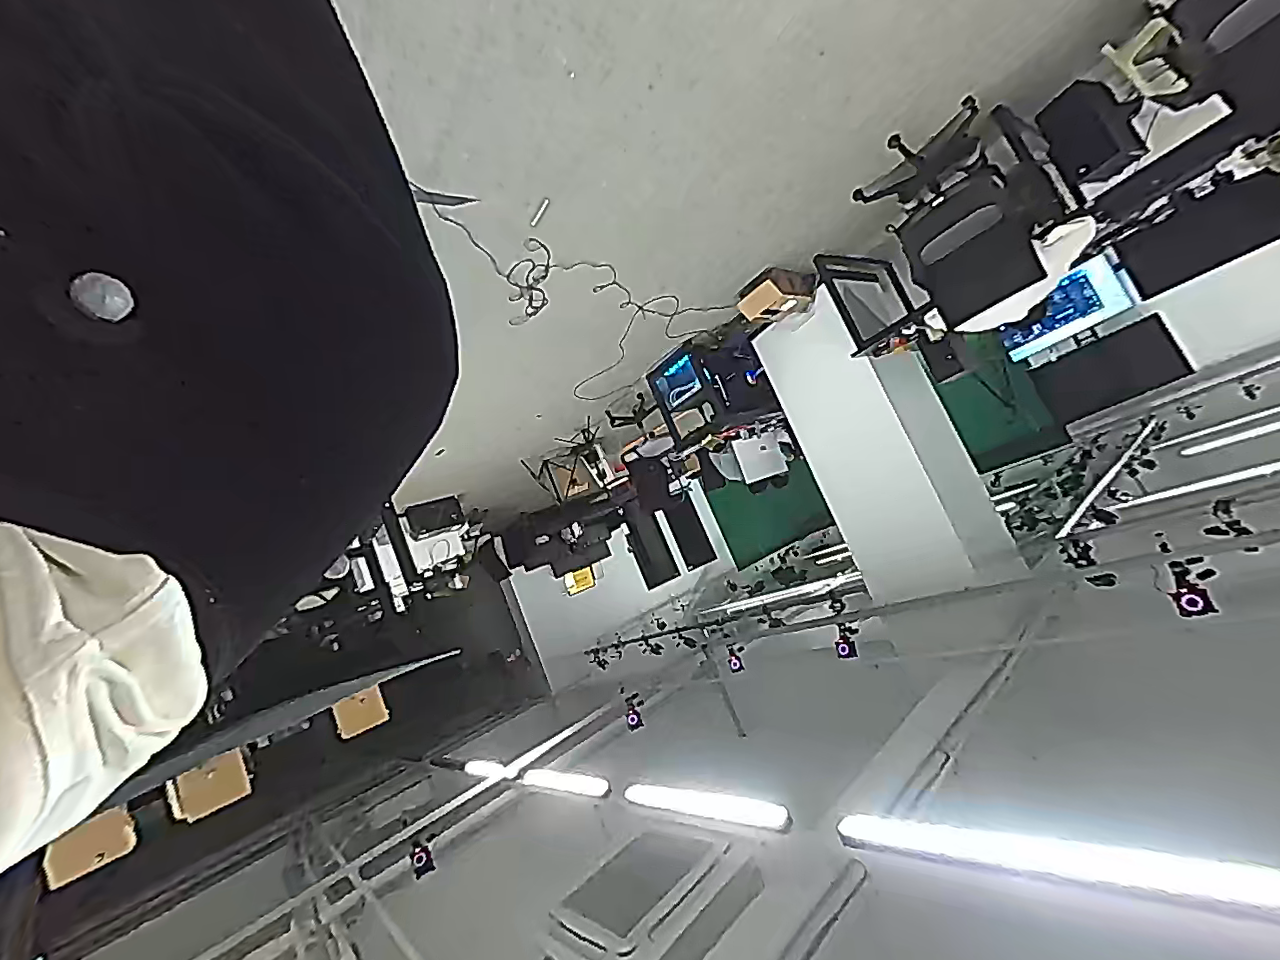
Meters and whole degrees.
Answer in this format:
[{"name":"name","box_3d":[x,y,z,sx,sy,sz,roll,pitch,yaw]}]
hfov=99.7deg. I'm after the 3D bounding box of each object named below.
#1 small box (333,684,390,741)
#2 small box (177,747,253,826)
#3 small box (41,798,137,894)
[{"name":"small box","box_3d":[-1.188,0.985,2.296,0.168,0.176,0.179,-17,169,-39]},{"name":"small box","box_3d":[-1.419,1.013,1.808,0.168,0.176,0.179,-17,171,-40]},{"name":"small box","box_3d":[-1.638,1.078,1.614,0.168,0.176,0.179,-17,171,-42]}]
